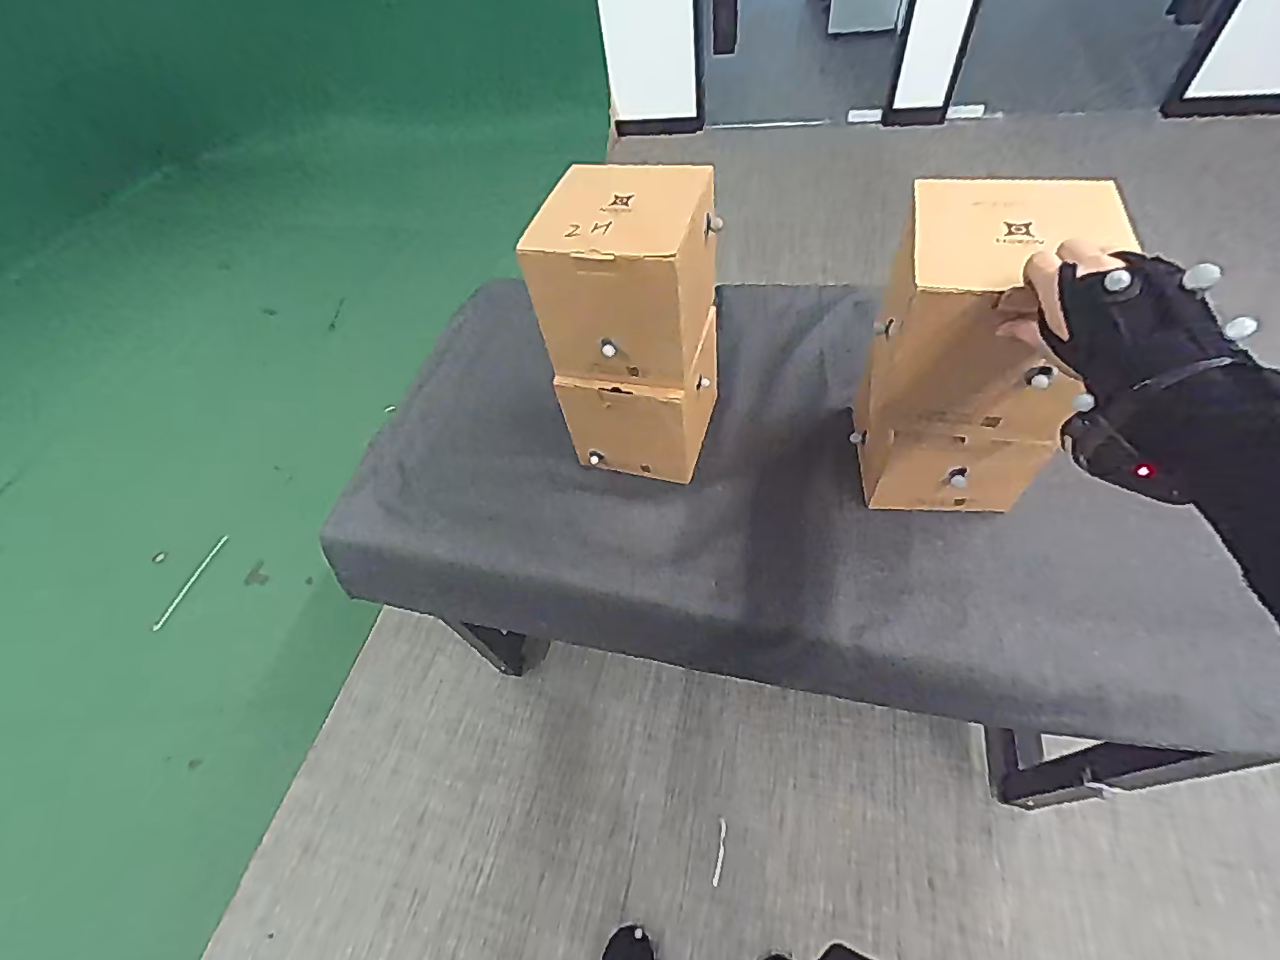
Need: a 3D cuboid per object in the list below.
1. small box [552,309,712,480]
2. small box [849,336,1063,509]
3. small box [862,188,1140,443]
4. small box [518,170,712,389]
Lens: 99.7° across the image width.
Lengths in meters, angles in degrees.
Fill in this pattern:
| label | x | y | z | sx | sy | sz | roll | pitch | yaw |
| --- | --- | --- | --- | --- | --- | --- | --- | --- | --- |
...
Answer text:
| label | x | y | z | sx | sy | sz | roll | pitch | yaw |
| --- | --- | --- | --- | --- | --- | --- | --- | --- | --- |
| small box | 0.003 | -0.122 | 0.749 | 0.168 | 0.176 | 0.179 | 11 | 56 | 16 |
| small box | 0.364 | -0.078 | 0.663 | 0.168 | 0.176 | 0.179 | 1 | 55 | 9 |
| small box | 0.321 | -0.157 | 0.524 | 0.168 | 0.176 | 0.179 | 9 | 55 | 14 |
| small box | -0.014 | -0.232 | 0.626 | 0.168 | 0.176 | 0.179 | 9 | 56 | 15 |
